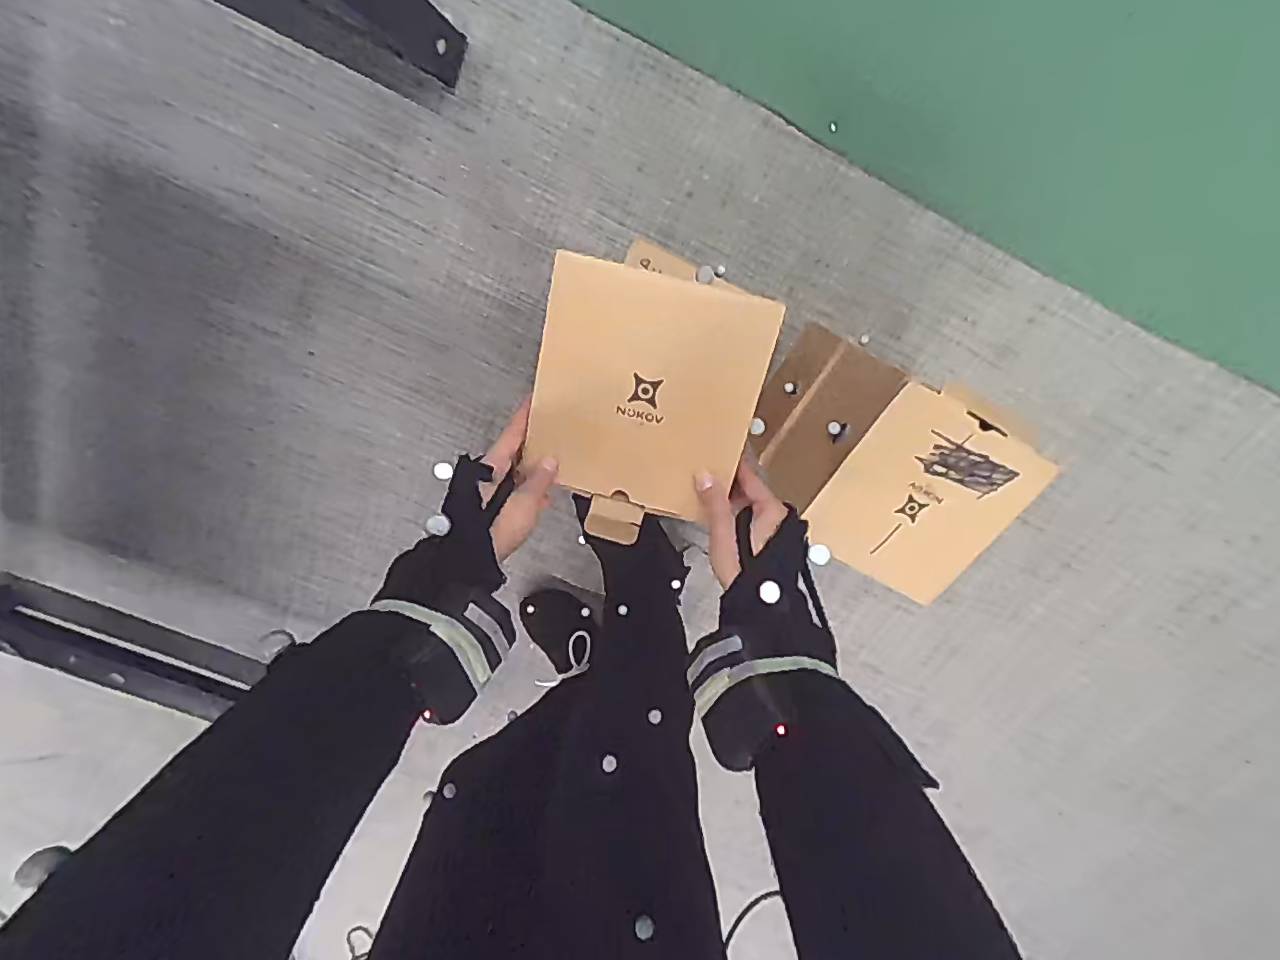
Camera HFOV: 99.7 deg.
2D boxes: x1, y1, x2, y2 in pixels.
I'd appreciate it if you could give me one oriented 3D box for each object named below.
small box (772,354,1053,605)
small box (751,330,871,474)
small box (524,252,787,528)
[{"bbox_3d":[0.258,-0.012,0.568,0.168,0.176,0.179,29,112,-7],"label":"small box"},{"bbox_3d":[0.261,-0.079,0.718,0.168,0.176,0.179,28,113,-8],"label":"small box"},{"bbox_3d":[0.012,-0.085,0.477,0.168,0.176,0.179,14,109,1],"label":"small box"}]
